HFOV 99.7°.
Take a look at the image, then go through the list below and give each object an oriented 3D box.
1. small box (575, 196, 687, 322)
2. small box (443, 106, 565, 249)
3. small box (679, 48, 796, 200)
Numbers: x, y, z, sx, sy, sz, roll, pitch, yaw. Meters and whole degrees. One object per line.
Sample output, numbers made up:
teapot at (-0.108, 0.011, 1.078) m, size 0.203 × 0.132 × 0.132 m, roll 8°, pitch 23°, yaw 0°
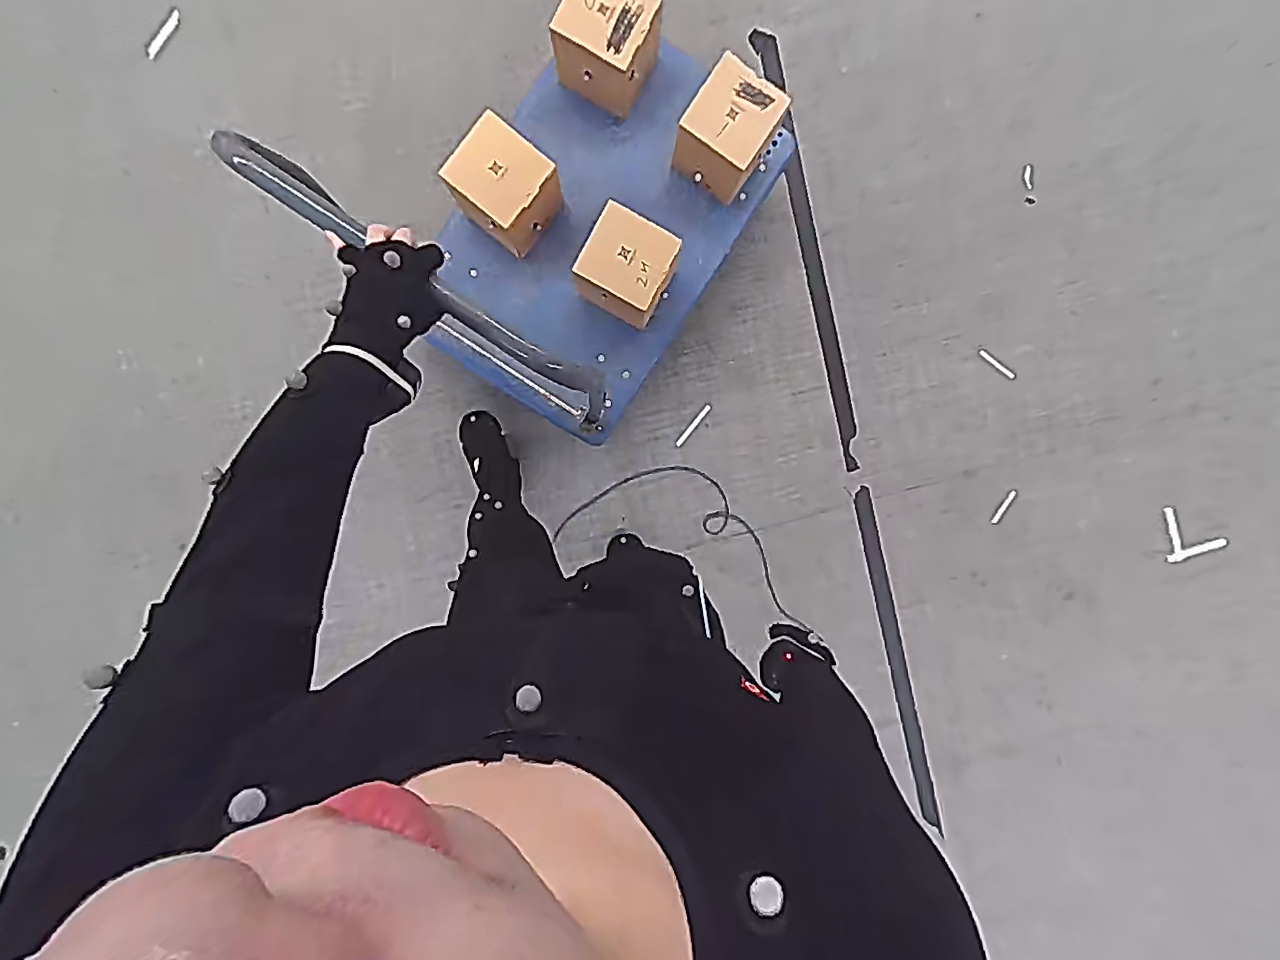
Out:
small box at (-0.021, -0.465, 1.173) m, size 0.179 × 0.176 × 0.168 m, roll 29°, pitch 92°, yaw -3°
small box at (-0.280, -0.631, 1.155) m, size 0.179 × 0.176 × 0.168 m, roll 38°, pitch 91°, yaw -5°
small box at (0.198, -0.753, 1.164) m, size 0.168 × 0.176 × 0.179 m, roll 34°, pitch 93°, yaw -4°
